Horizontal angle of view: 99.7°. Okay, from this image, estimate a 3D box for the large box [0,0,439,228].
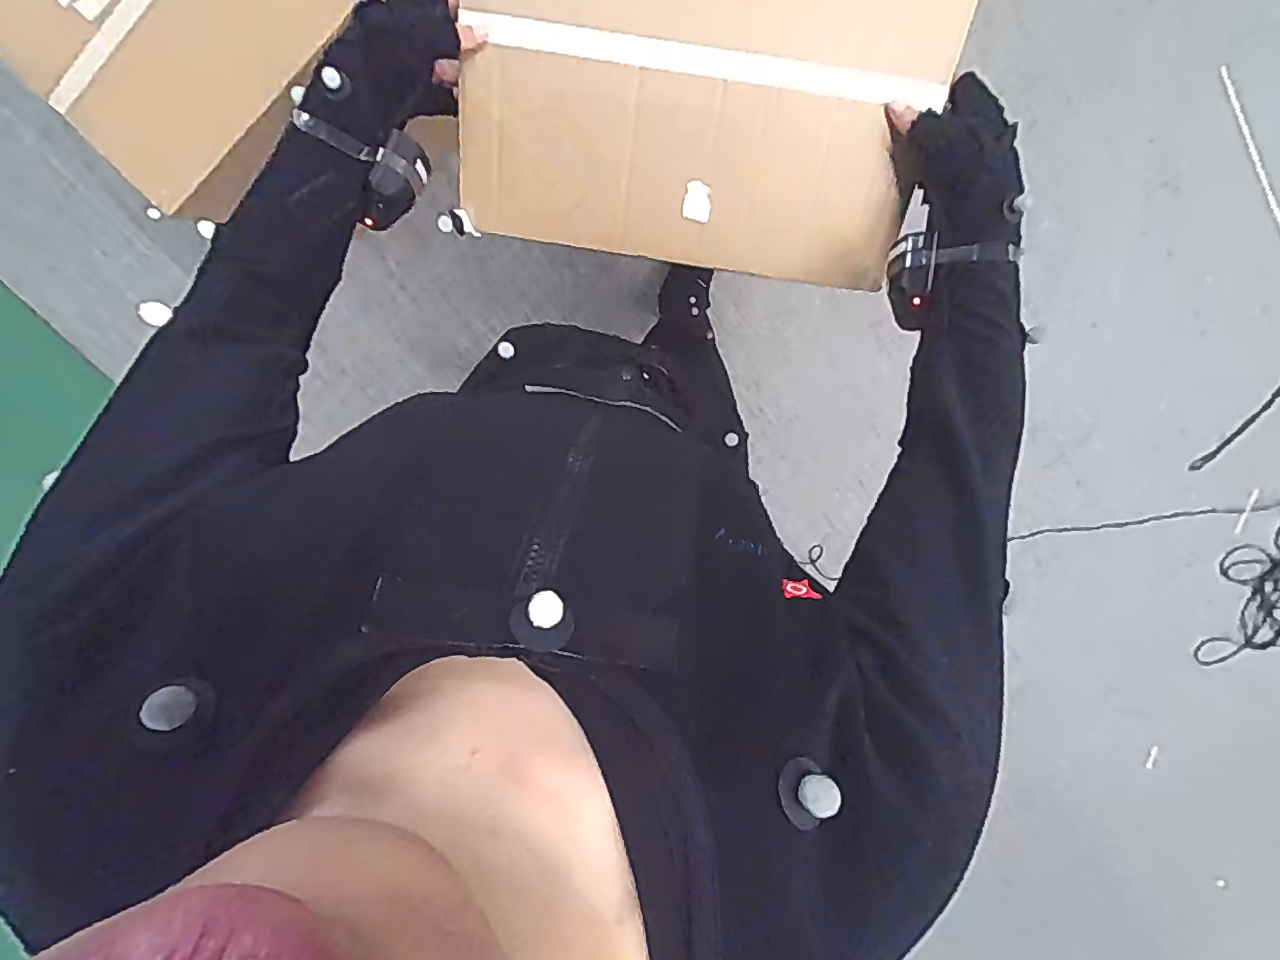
[{"bbox_3d":[-0.577,-0.634,0.780,0.408,0.320,0.320,-37,107,12],"label":"large box"}]
